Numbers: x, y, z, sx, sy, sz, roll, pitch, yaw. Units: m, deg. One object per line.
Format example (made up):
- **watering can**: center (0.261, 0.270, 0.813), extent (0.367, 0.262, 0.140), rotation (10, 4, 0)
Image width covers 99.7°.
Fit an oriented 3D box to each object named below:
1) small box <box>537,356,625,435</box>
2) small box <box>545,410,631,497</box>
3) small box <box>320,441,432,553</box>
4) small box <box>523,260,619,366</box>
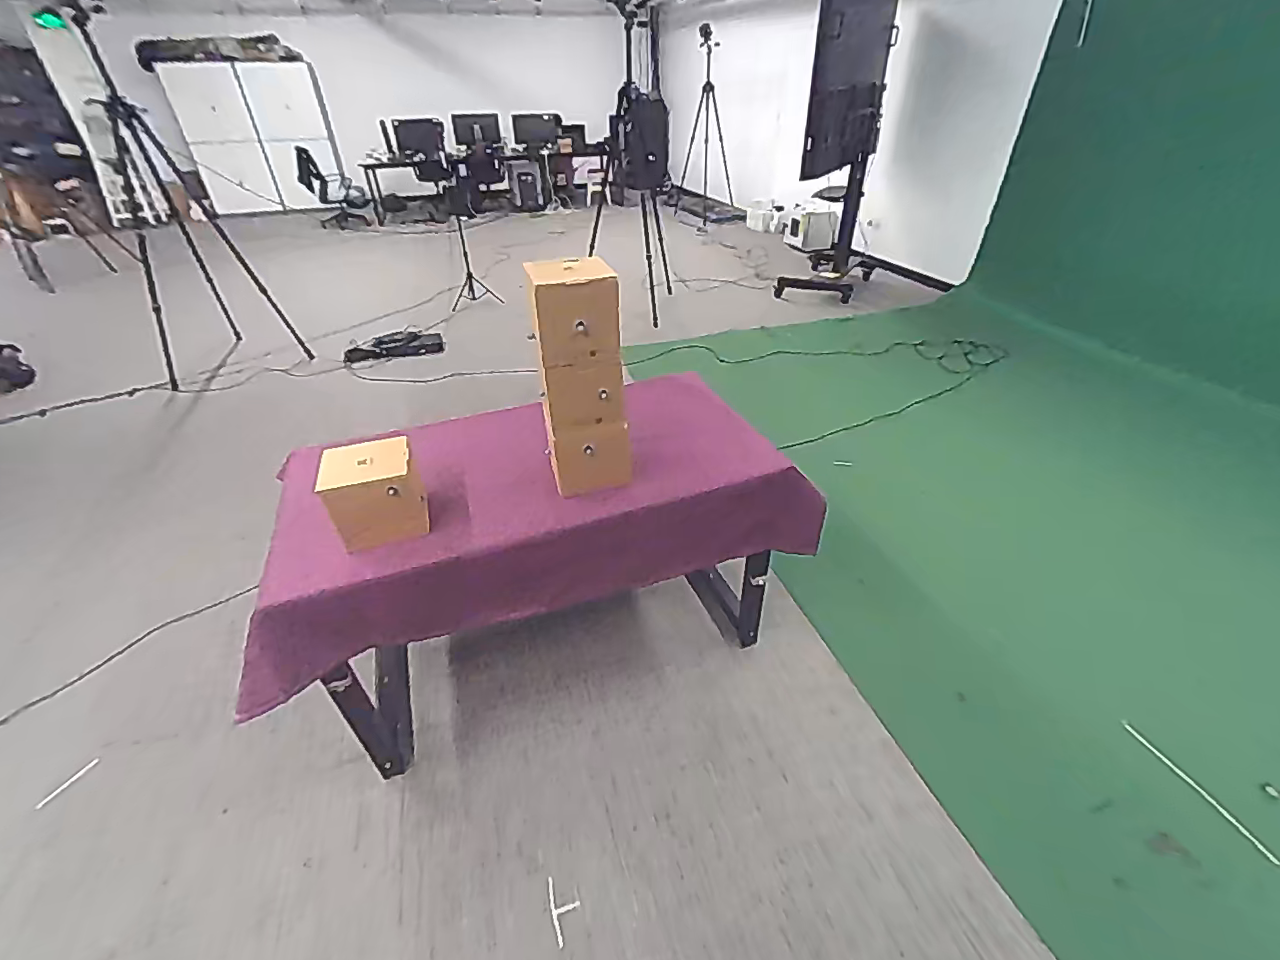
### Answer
- **small box**: center (-0.135, -0.214, 1.232), extent (0.168, 0.176, 0.179), rotation (-11, 36, -12)
- **small box**: center (-0.126, -0.077, 1.321), extent (0.179, 0.176, 0.168), rotation (-11, 37, -11)
- **small box**: center (-0.572, 0.038, 1.193), extent (0.179, 0.176, 0.168), rotation (-13, 37, -15)
- **small box**: center (-0.144, -0.346, 1.136), extent (0.168, 0.176, 0.179), rotation (-11, 37, -13)
